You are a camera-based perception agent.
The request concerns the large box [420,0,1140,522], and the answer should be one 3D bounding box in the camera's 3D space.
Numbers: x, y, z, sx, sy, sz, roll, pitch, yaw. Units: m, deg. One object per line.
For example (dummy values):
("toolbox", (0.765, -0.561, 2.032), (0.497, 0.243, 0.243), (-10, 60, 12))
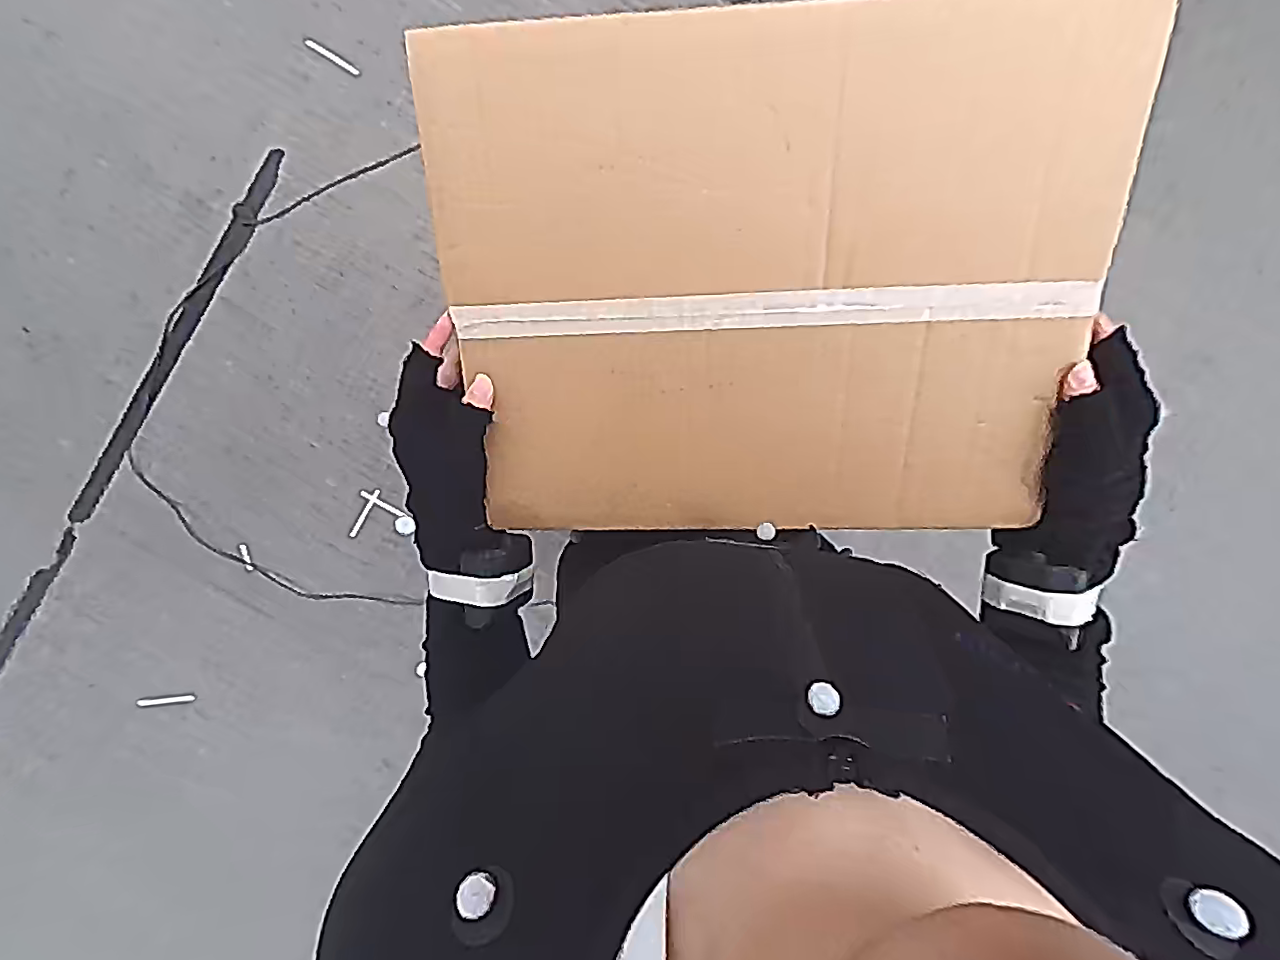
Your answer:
("large box", (0.082, -0.169, 0.492), (0.408, 0.320, 0.320), (-1, 113, 4))
